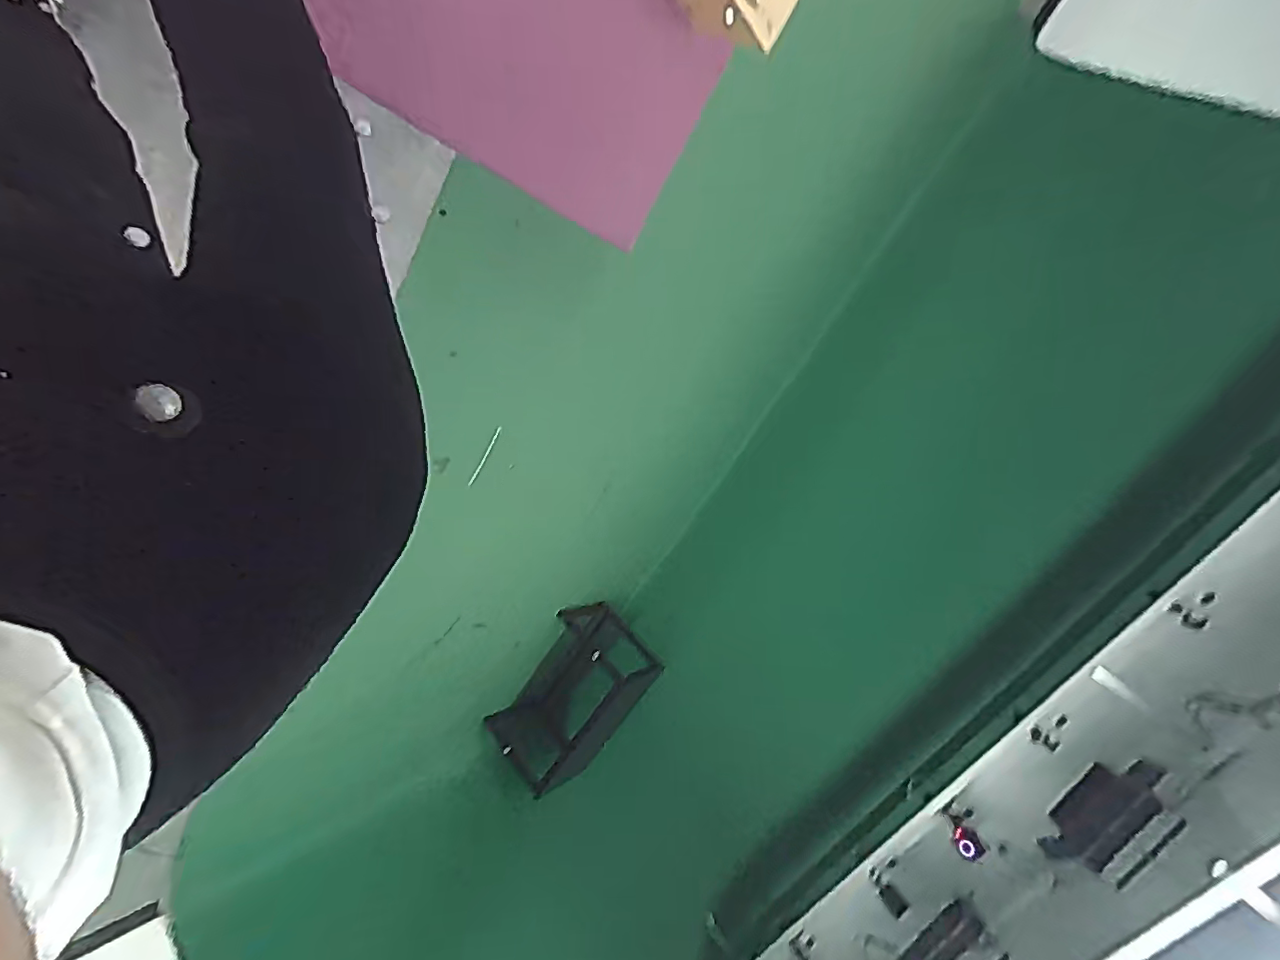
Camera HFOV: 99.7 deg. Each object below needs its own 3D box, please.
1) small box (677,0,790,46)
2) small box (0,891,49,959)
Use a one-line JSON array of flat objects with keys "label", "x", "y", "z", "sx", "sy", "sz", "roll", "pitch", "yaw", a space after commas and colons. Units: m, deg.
[{"label": "small box", "x": 0.149, "y": -0.839, "z": 0.842, "sx": 0.168, "sy": 0.176, "sz": 0.179, "roll": -2, "pitch": 128, "yaw": -55}, {"label": "small box", "x": -1.540, "y": 1.128, "z": 1.269, "sx": 0.179, "sy": 0.176, "sz": 0.168, "roll": -57, "pitch": 153, "yaw": 16}]
